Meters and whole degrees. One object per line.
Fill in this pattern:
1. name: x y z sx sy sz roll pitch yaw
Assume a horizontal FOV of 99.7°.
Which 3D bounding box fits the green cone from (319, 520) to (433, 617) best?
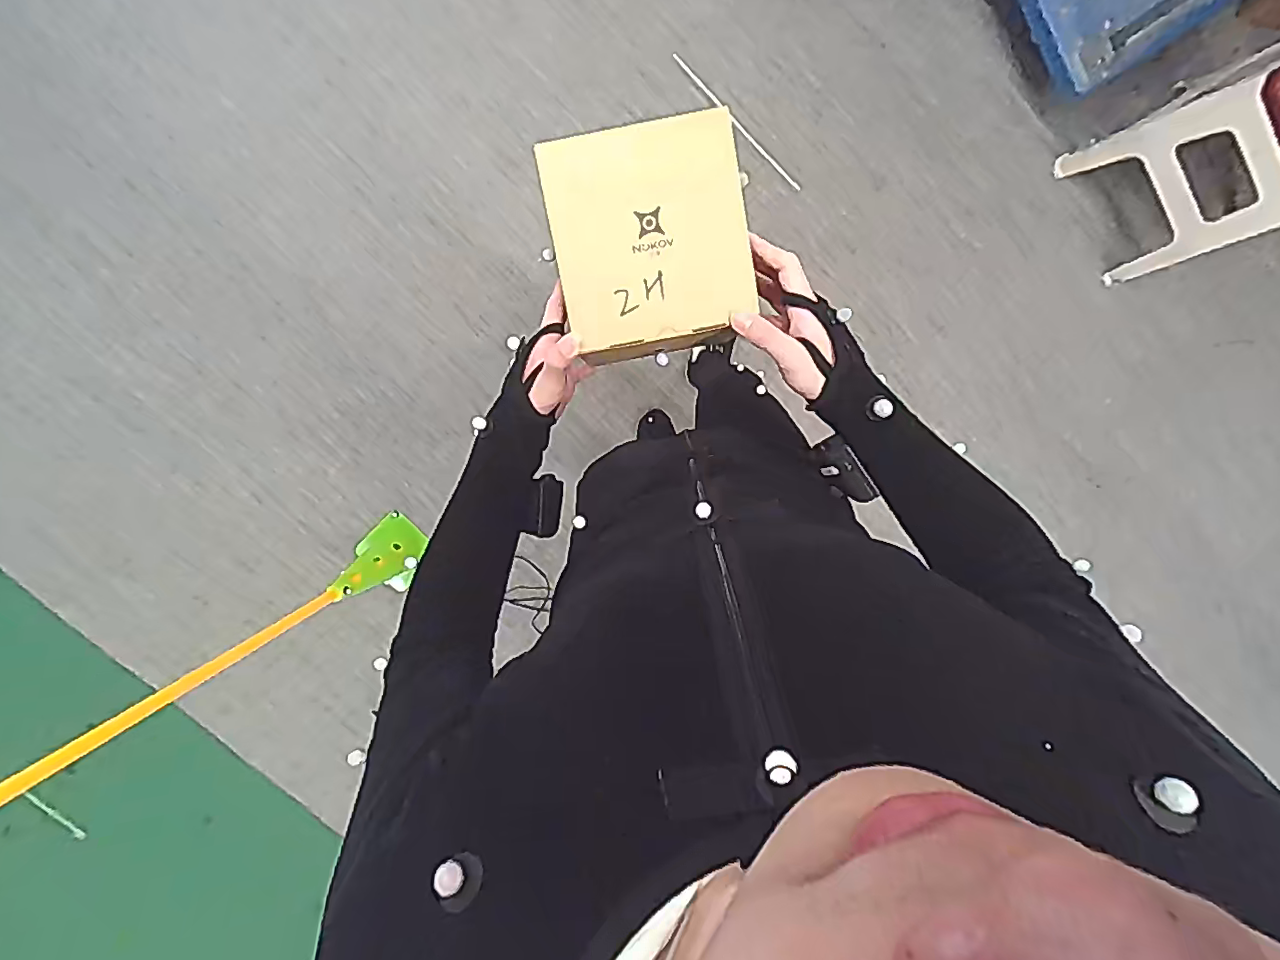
1. green cone: -0.758 0.277 1.471 0.200 0.368 0.202 -44 98 8
